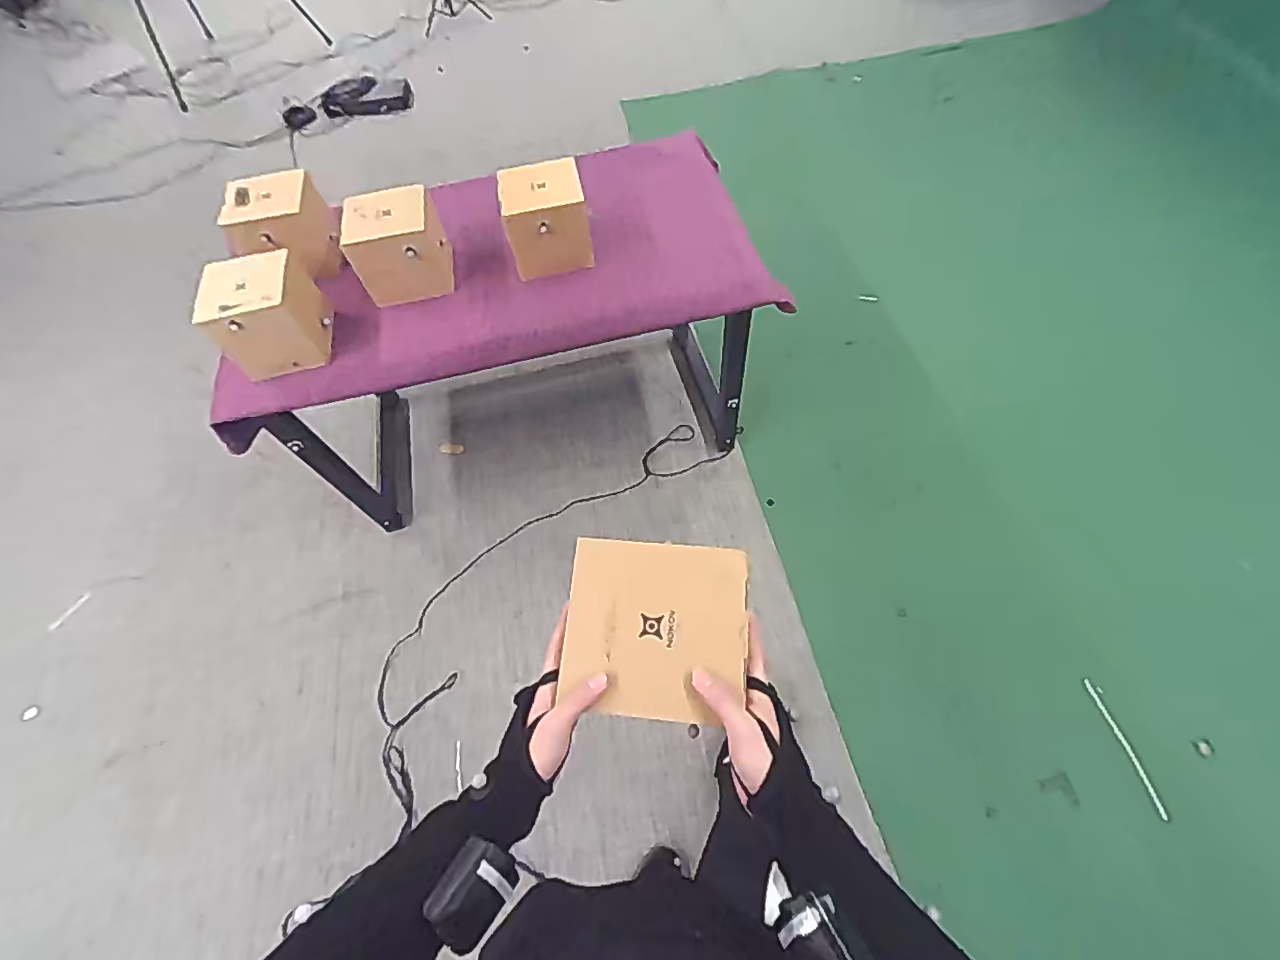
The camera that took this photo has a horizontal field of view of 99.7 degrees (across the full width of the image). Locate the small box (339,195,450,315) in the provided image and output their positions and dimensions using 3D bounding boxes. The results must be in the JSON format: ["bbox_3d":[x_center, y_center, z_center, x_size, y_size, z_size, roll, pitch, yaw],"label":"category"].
[{"bbox_3d":[-0.532,-0.494,1.199,0.179,0.176,0.168,-12,59,-3],"label":"small box"}]

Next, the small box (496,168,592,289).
[{"bbox_3d":[-0.209,-0.559,1.214,0.179,0.176,0.168,-12,60,-2],"label":"small box"}]

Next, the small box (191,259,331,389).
[{"bbox_3d":[-0.765,-0.317,1.115,0.168,0.176,0.179,-15,58,-4],"label":"small box"}]

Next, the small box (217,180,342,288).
[{"bbox_3d":[-0.827,-0.561,1.261,0.179,0.176,0.168,-12,60,-4],"label":"small box"}]

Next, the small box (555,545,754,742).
[{"bbox_3d":[0.021,0.177,0.583,0.179,0.176,0.168,4,67,5],"label":"small box"}]
